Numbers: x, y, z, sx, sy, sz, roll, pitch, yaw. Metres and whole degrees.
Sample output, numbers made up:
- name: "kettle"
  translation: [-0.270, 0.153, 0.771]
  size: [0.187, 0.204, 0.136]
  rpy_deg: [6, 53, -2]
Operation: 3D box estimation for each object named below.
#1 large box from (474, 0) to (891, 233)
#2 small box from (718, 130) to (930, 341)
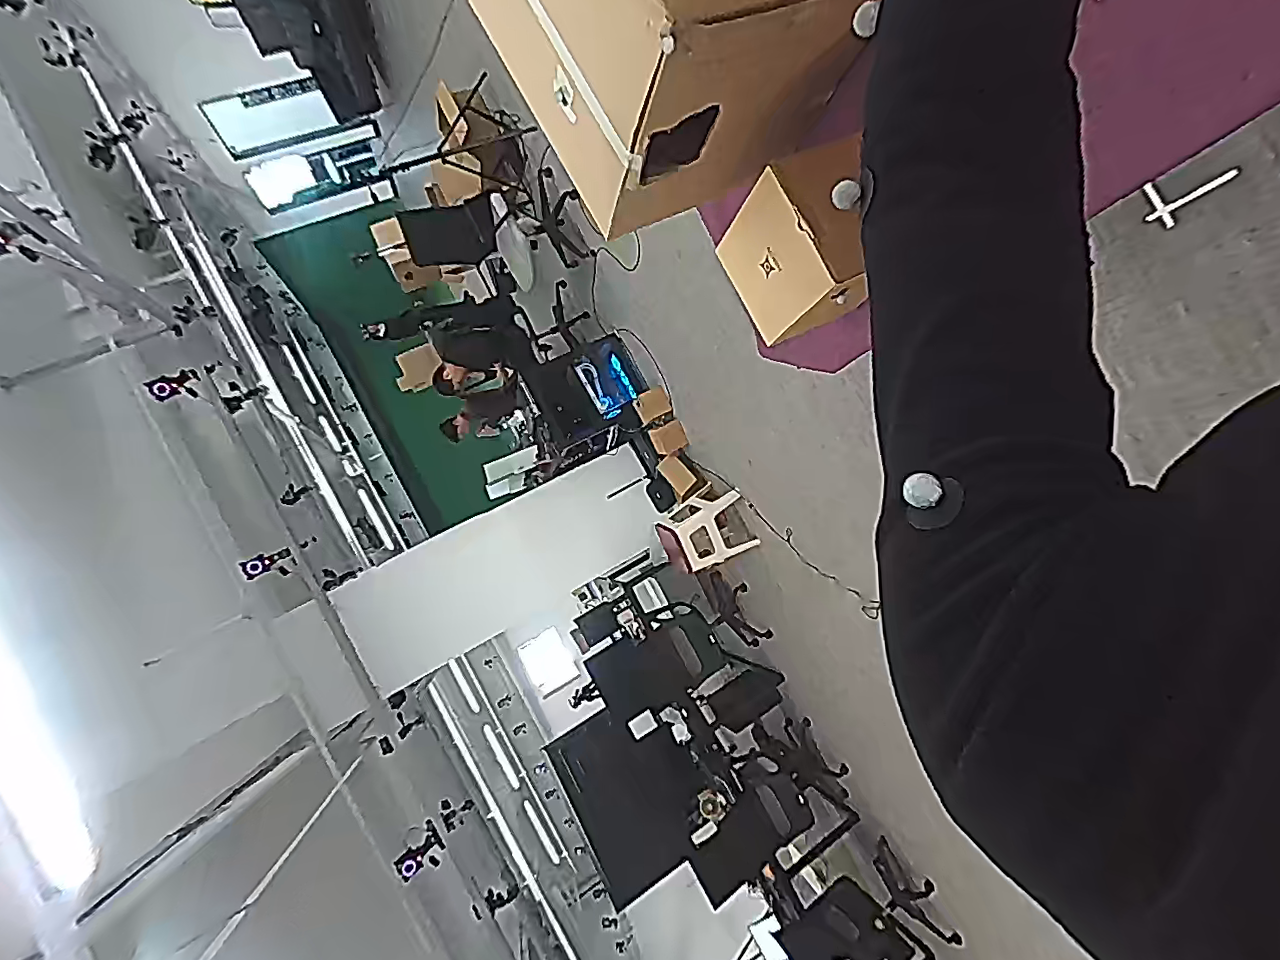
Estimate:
- name: "large box"
  translation: [0.028, -0.604, 0.649]
  size: [0.408, 0.320, 0.320]
  rpy_deg: [59, 164, 2]
- name: "small box"
  translation: [0.238, -0.319, 0.723]
  size: [0.168, 0.176, 0.179]
  rpy_deg: [62, 163, 4]
